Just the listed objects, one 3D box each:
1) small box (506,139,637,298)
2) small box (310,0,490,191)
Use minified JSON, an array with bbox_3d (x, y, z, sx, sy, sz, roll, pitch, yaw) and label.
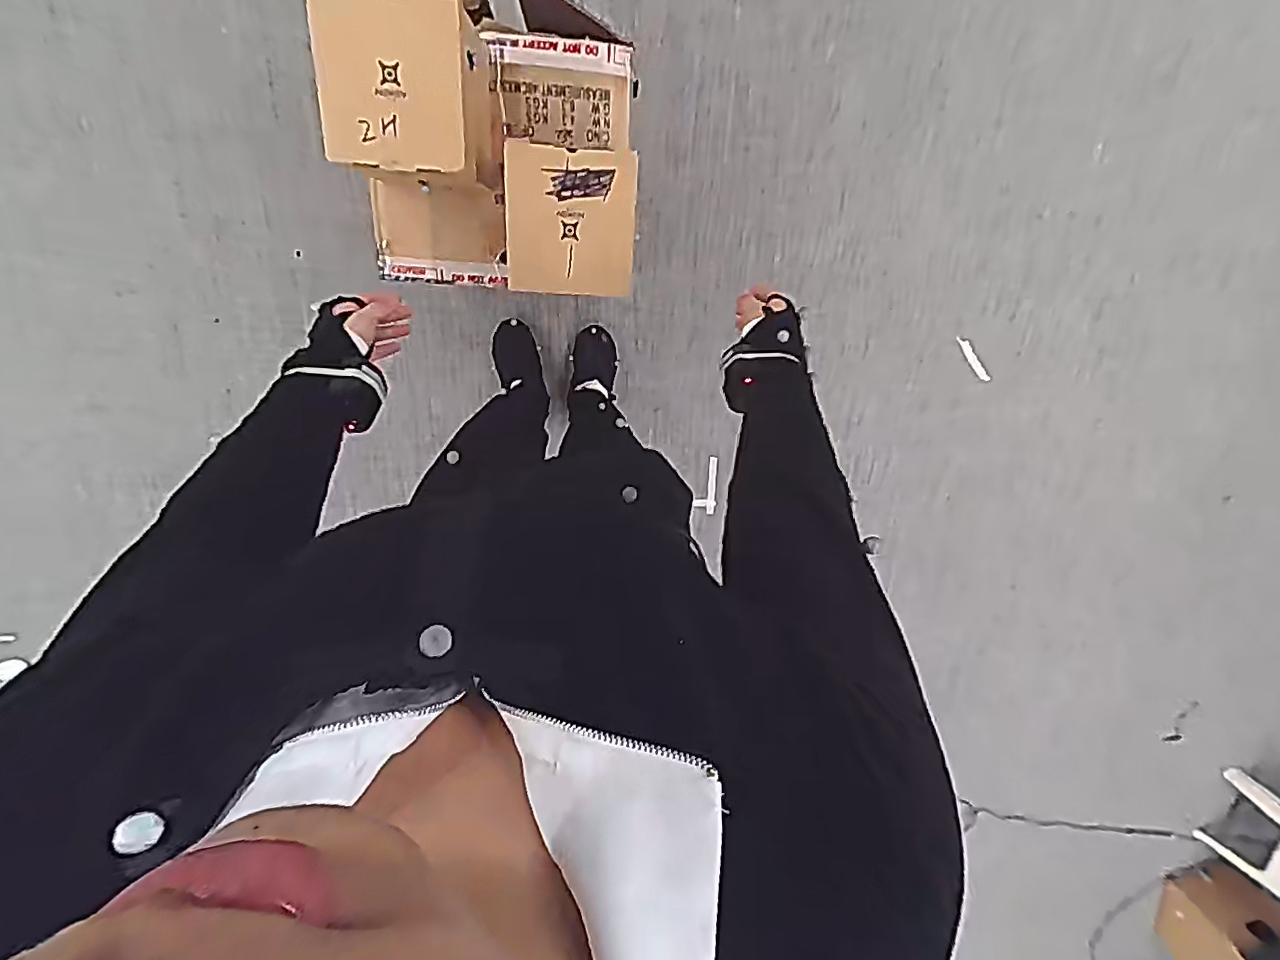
[{"bbox_3d":[-0.099,-0.361,0.771,0.168,0.176,0.179,1,112,-7],"label":"small box"},{"bbox_3d":[-0.294,-0.489,0.699,0.168,0.176,0.179,3,112,-5],"label":"small box"}]
